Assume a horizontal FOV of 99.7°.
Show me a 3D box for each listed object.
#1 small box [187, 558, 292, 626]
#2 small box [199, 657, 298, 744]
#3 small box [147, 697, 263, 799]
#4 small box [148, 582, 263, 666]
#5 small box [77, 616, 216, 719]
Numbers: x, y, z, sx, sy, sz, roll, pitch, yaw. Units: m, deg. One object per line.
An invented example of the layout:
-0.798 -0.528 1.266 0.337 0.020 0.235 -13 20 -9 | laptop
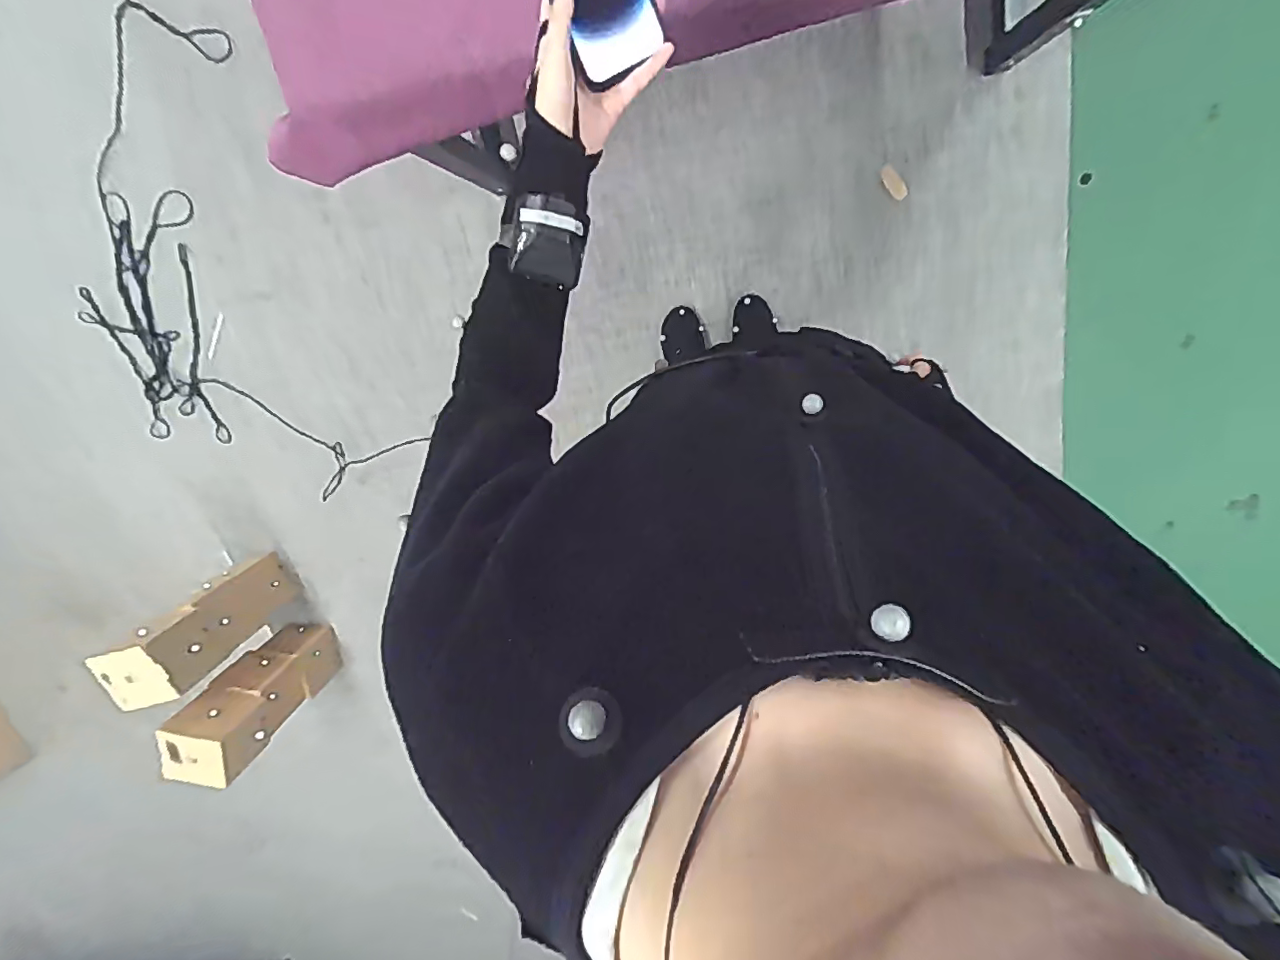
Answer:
-1.233 0.366 1.687 0.179 0.176 0.168 -18 106 11 | small box
-1.155 0.661 1.612 0.168 0.176 0.179 6 108 4 | small box
-1.161 0.713 1.456 0.179 0.176 0.168 10 109 1 | small box
-1.231 0.422 1.534 0.168 0.176 0.179 -22 106 11 | small box
-1.238 0.470 1.379 0.179 0.176 0.168 -15 107 7 | small box
